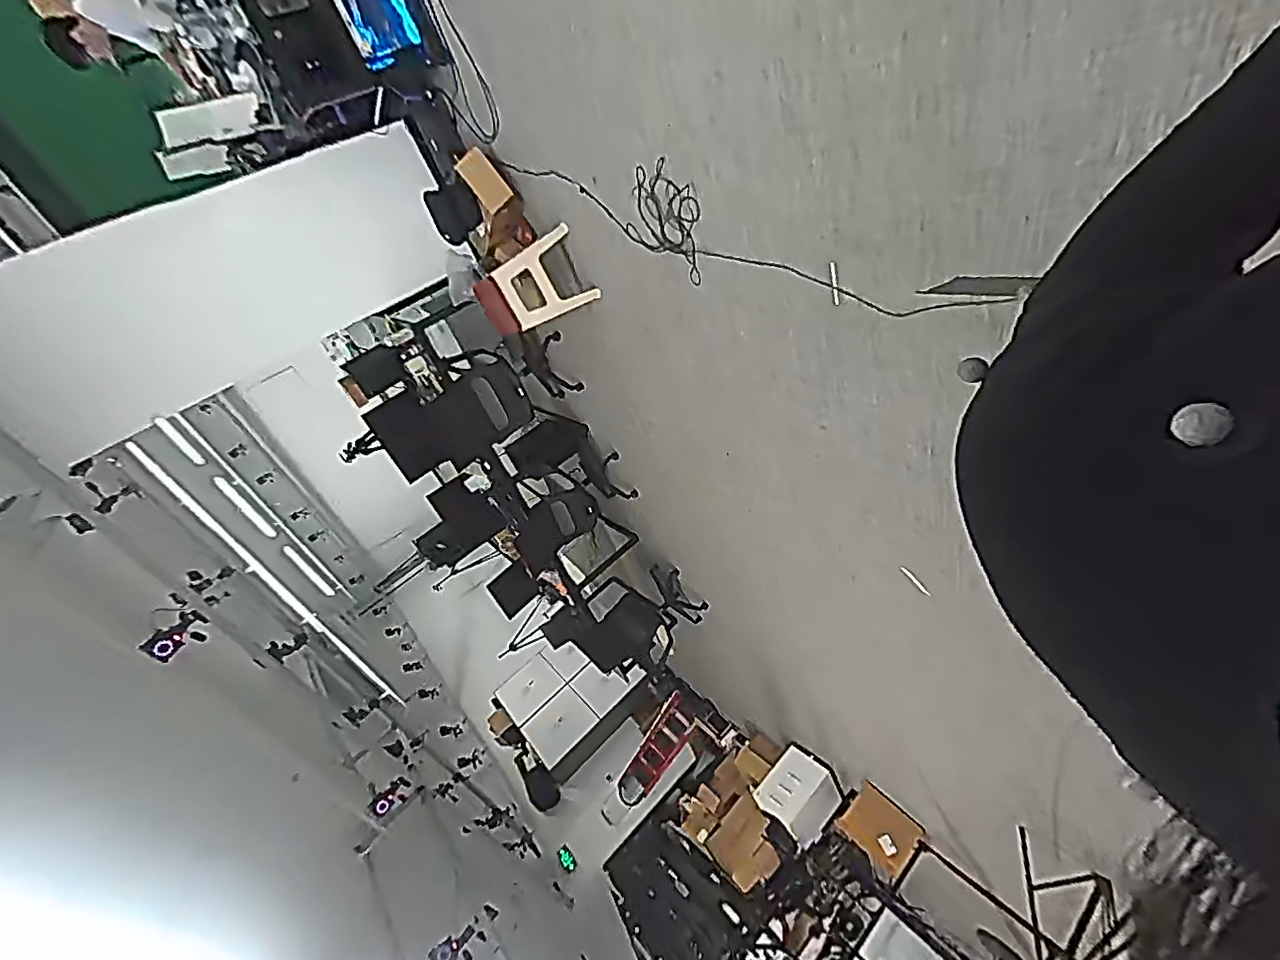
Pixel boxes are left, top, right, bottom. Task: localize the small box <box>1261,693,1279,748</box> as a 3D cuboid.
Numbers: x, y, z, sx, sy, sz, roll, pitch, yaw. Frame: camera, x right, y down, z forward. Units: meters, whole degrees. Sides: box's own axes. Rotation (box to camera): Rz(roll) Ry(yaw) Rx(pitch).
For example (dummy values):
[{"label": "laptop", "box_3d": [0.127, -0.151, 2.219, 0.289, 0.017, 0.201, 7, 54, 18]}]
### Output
[{"label": "small box", "box_3d": [1.693, 0.586, 1.328, 0.168, 0.176, 0.179, 23, 144, 49]}]
